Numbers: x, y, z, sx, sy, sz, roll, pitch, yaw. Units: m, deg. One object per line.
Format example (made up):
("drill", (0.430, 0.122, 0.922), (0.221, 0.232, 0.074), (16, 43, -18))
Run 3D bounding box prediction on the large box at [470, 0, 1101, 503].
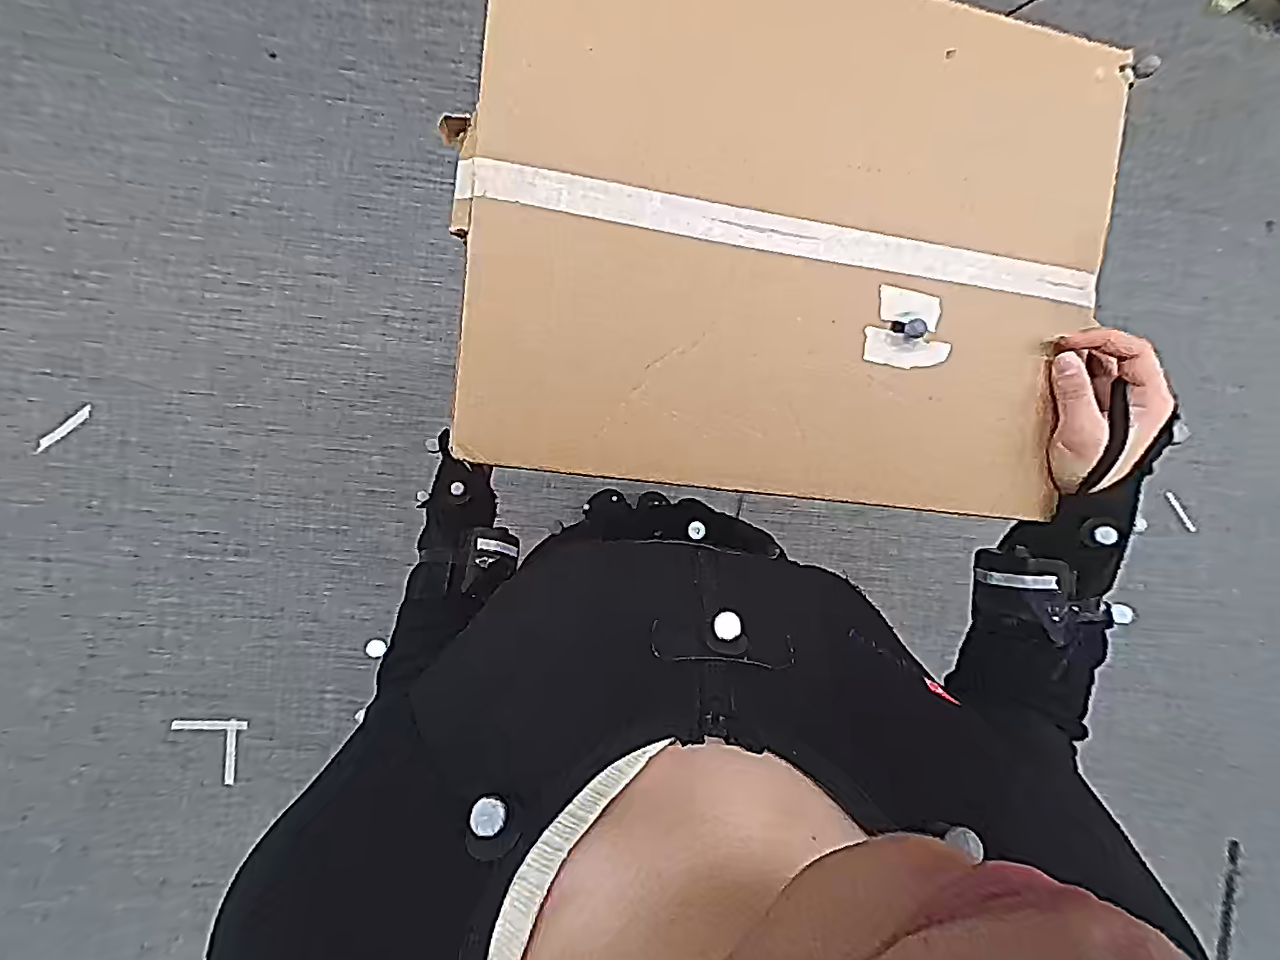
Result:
("large box", (0.079, -0.163, 0.486), (0.408, 0.320, 0.320), (6, 95, -11))
